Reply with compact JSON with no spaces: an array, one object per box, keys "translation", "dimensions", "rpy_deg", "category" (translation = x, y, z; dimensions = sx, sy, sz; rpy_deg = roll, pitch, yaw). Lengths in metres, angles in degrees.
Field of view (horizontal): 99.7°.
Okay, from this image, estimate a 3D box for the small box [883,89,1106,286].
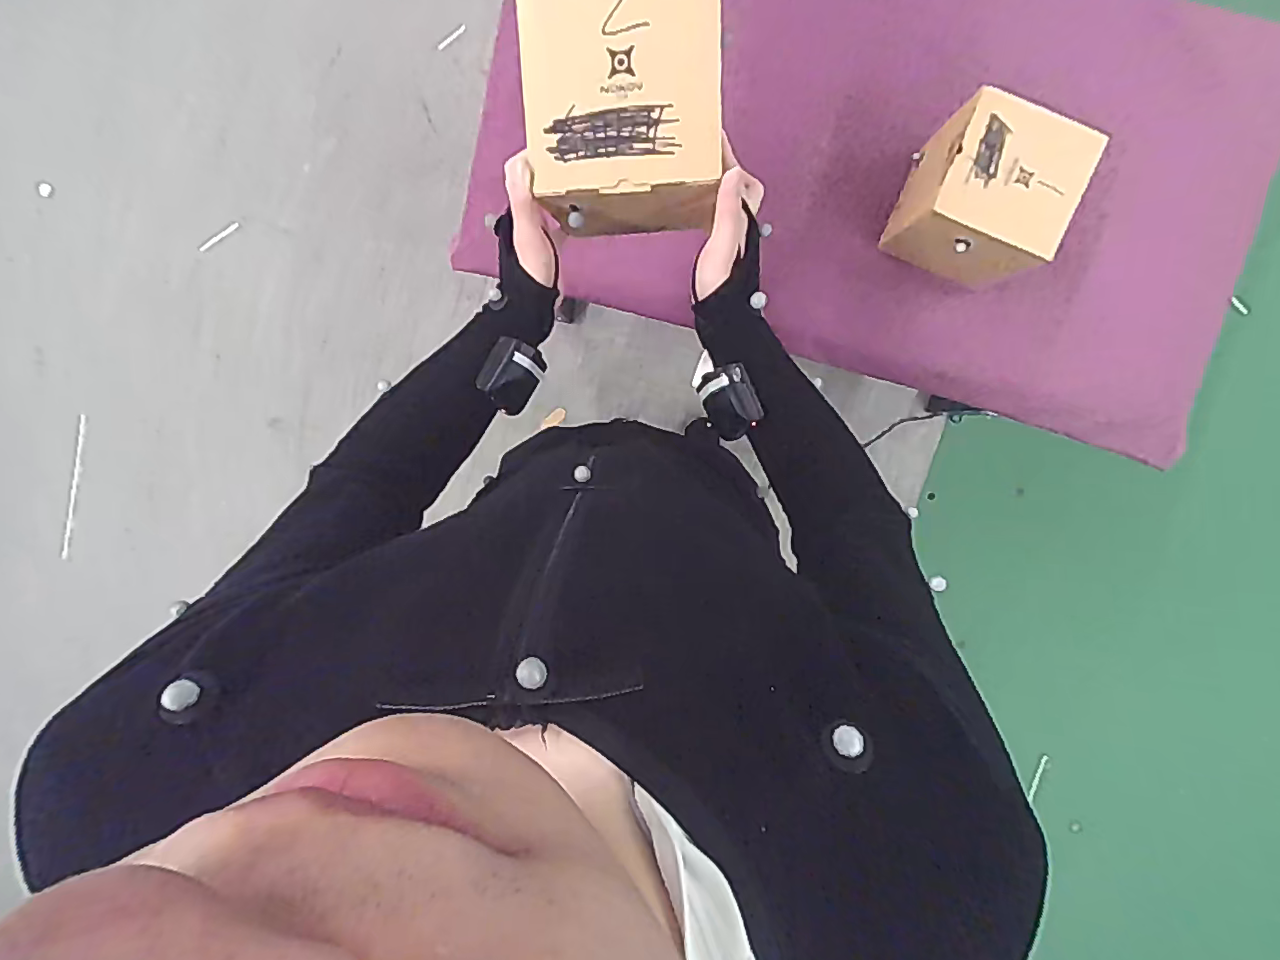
[{"translation":[0.486,-0.399,0.774],"dimensions":[0.179,0.176,0.168],"rpy_deg":[22,97,-2],"category":"small box"}]
